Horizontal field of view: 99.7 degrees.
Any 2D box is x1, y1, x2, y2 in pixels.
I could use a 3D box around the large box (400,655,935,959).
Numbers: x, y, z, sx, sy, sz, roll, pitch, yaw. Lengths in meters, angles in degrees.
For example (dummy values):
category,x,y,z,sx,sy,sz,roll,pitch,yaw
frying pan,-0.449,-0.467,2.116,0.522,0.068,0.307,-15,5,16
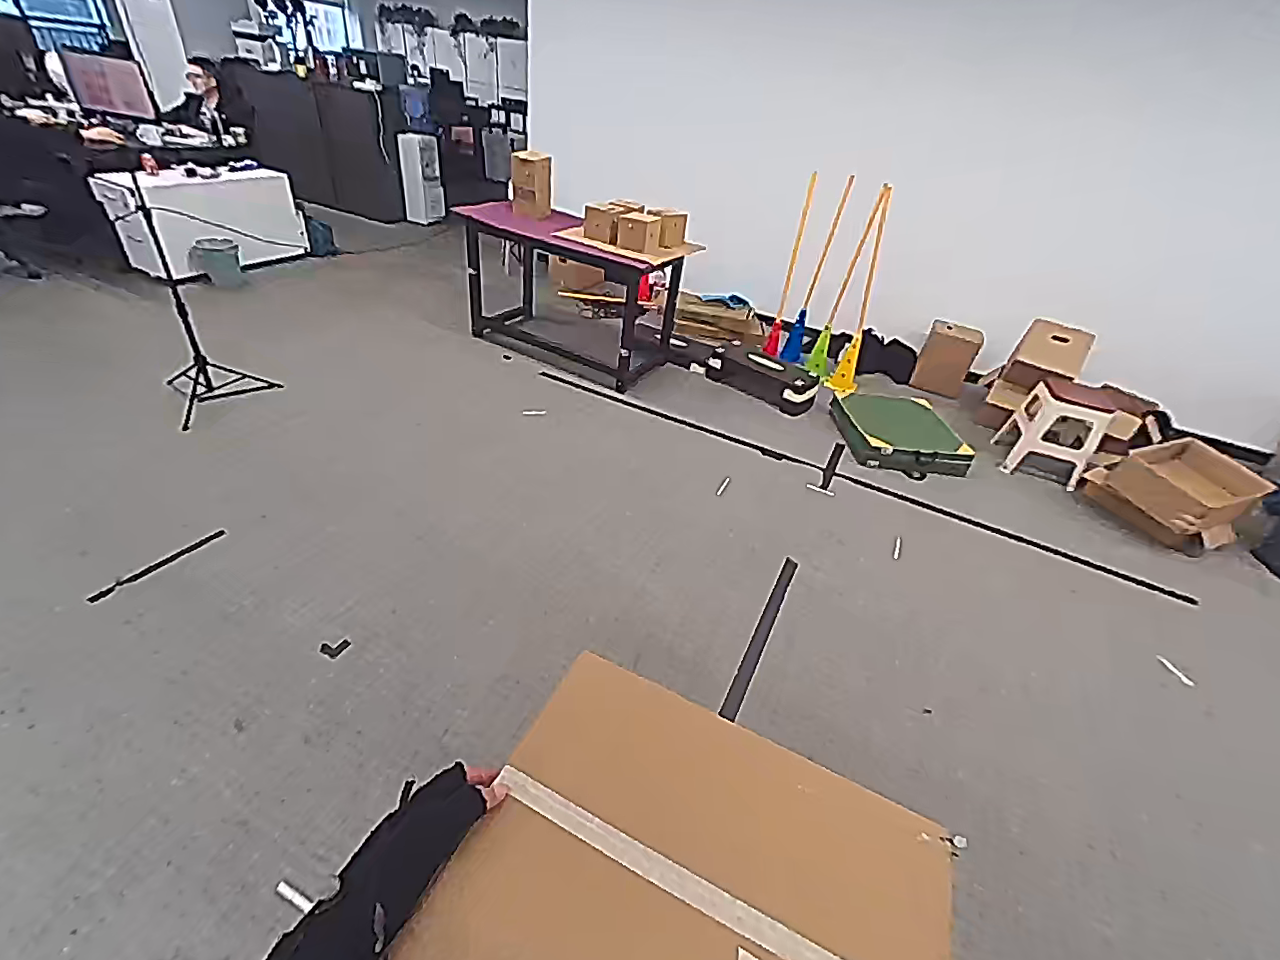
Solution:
category,x,y,z,sx,sy,sz,roll,pitch,yaw
large box,0.034,0.466,0.573,0.408,0.320,0.320,21,42,16
